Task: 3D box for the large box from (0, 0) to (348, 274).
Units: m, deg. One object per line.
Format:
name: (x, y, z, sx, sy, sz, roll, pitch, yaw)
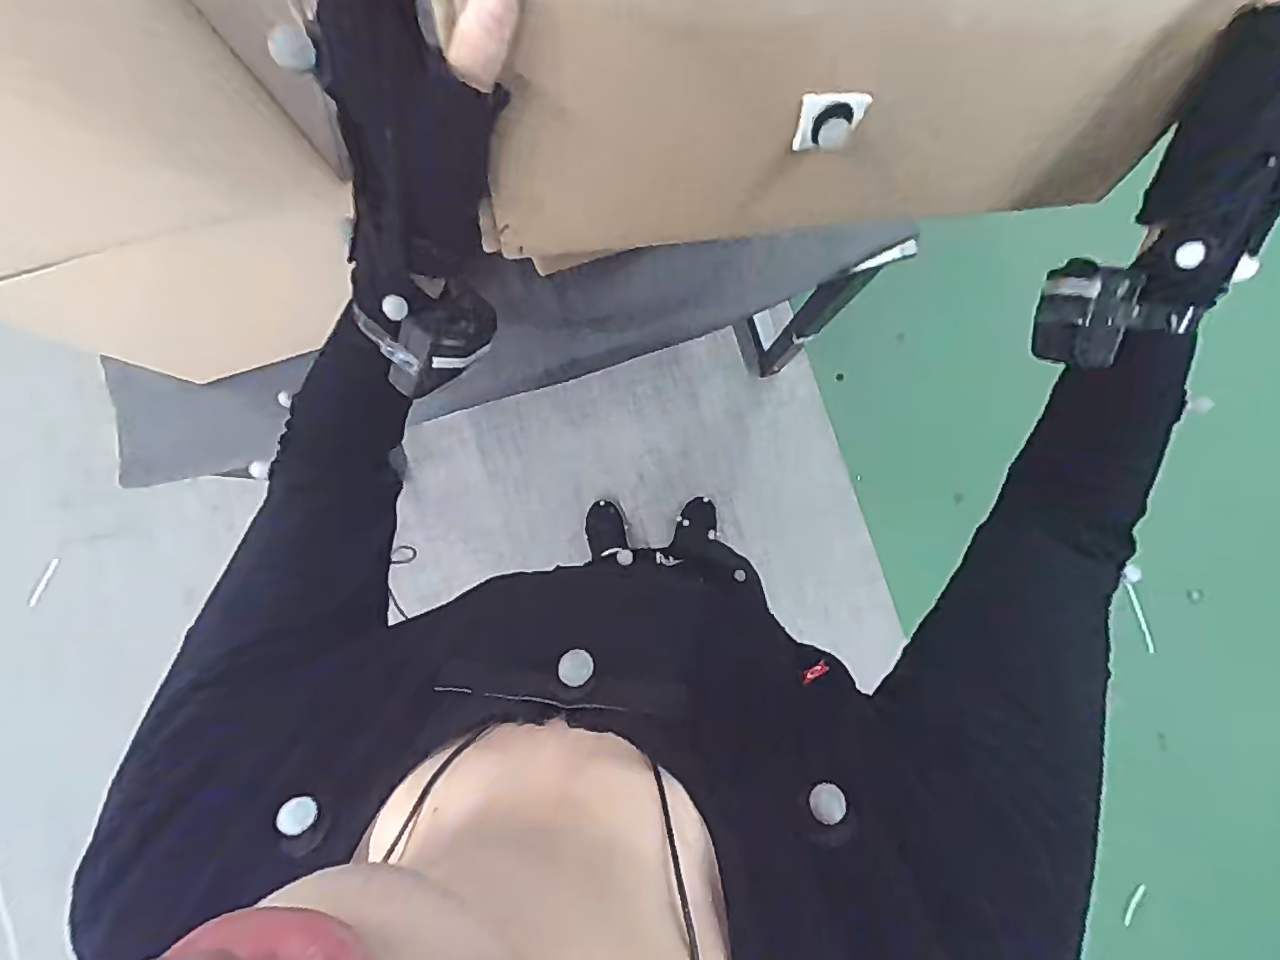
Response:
large box: (-0.495, -0.376, 0.355, 0.408, 0.320, 0.320, -17, 88, -4)
